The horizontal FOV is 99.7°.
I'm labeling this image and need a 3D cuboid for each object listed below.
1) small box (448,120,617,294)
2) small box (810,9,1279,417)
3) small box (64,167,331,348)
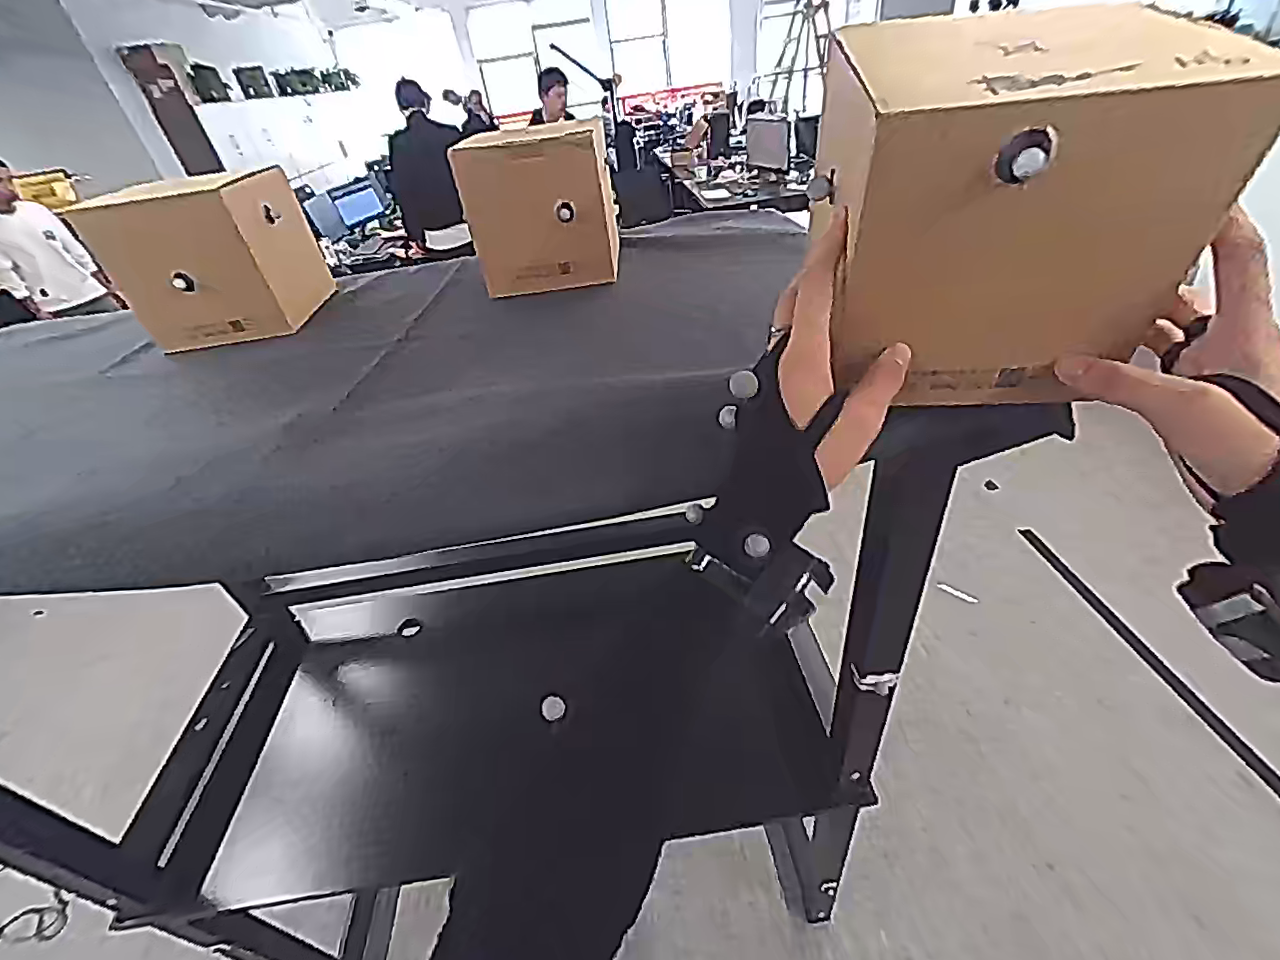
[{"bbox_3d":[-0.122,-0.348,0.699,0.168,0.176,0.179,-5,37,3],"label":"small box"},{"bbox_3d":[0.204,-0.158,0.331,0.168,0.176,0.179,0,48,9],"label":"small box"},{"bbox_3d":[-0.528,-0.277,0.685,0.168,0.176,0.179,-9,38,-2],"label":"small box"}]
